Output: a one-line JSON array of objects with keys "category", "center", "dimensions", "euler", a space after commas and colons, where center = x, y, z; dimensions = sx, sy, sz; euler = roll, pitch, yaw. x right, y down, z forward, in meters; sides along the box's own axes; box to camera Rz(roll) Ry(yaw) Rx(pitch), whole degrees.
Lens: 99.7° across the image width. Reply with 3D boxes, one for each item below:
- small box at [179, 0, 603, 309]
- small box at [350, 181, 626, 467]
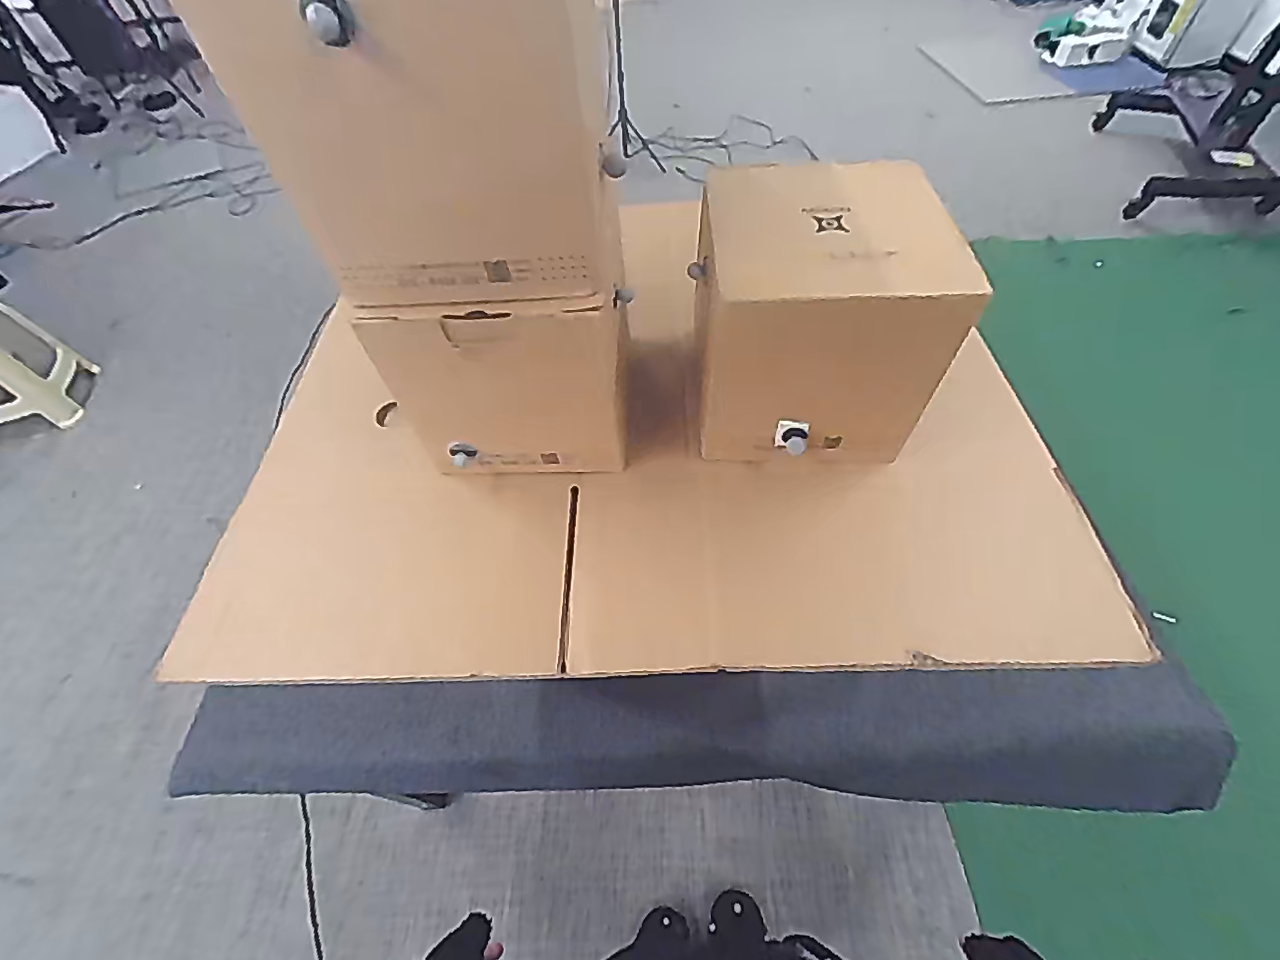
[{"category": "small box", "center": [-0.115, -0.228, 0.333], "dimensions": [0.168, 0.176, 0.179], "euler": [-2, 54, 3]}, {"category": "small box", "center": [-0.101, -0.123, 0.458], "dimensions": [0.168, 0.176, 0.179], "euler": [-1, 54, 3]}]
